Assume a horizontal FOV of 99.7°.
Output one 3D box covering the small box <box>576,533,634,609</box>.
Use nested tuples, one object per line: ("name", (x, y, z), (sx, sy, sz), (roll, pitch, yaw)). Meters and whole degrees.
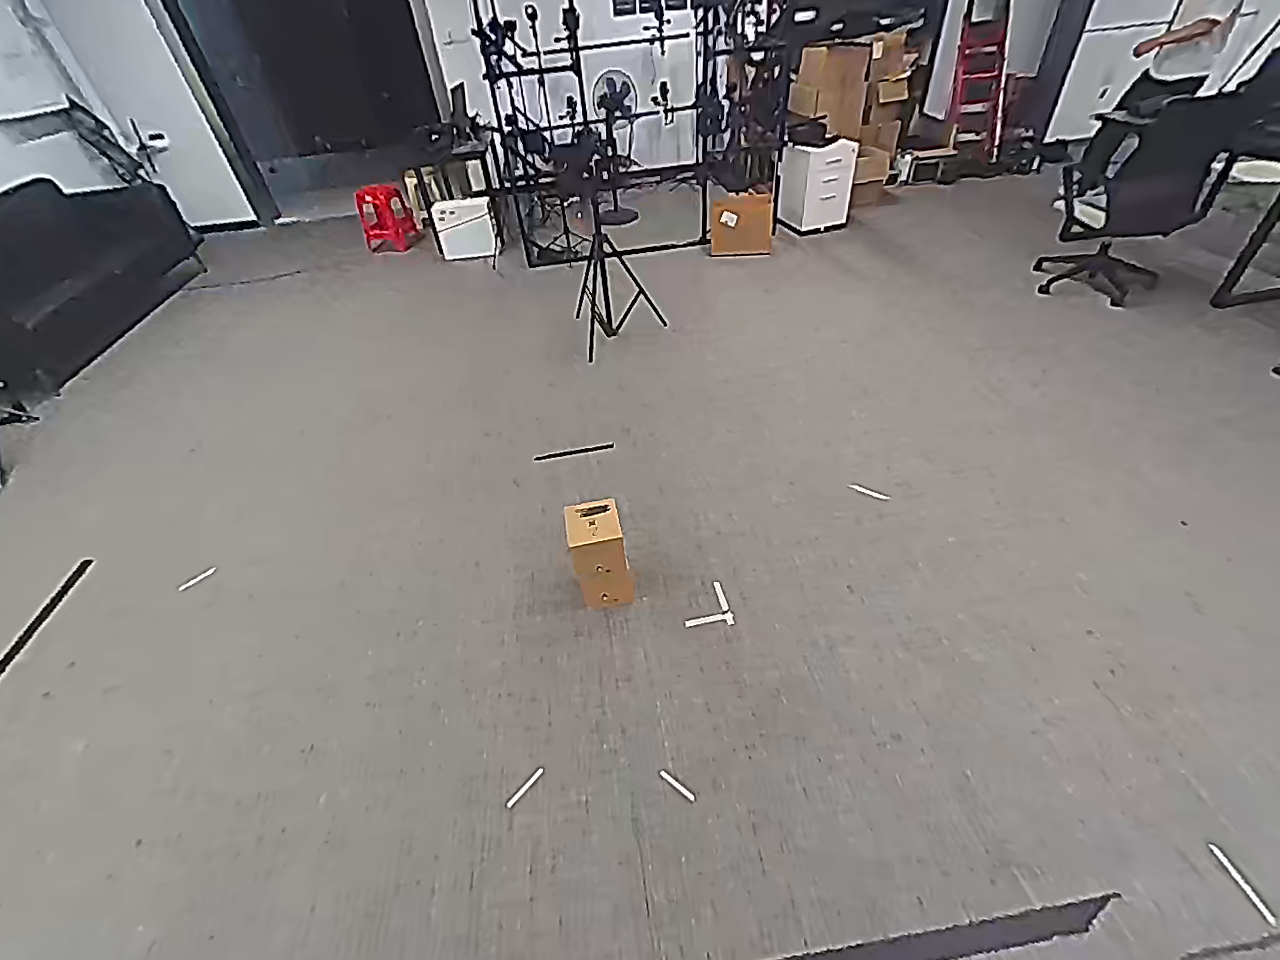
("small box", (-0.119, 0.310, 1.835), (0.168, 0.176, 0.179), (-10, 42, -5))
